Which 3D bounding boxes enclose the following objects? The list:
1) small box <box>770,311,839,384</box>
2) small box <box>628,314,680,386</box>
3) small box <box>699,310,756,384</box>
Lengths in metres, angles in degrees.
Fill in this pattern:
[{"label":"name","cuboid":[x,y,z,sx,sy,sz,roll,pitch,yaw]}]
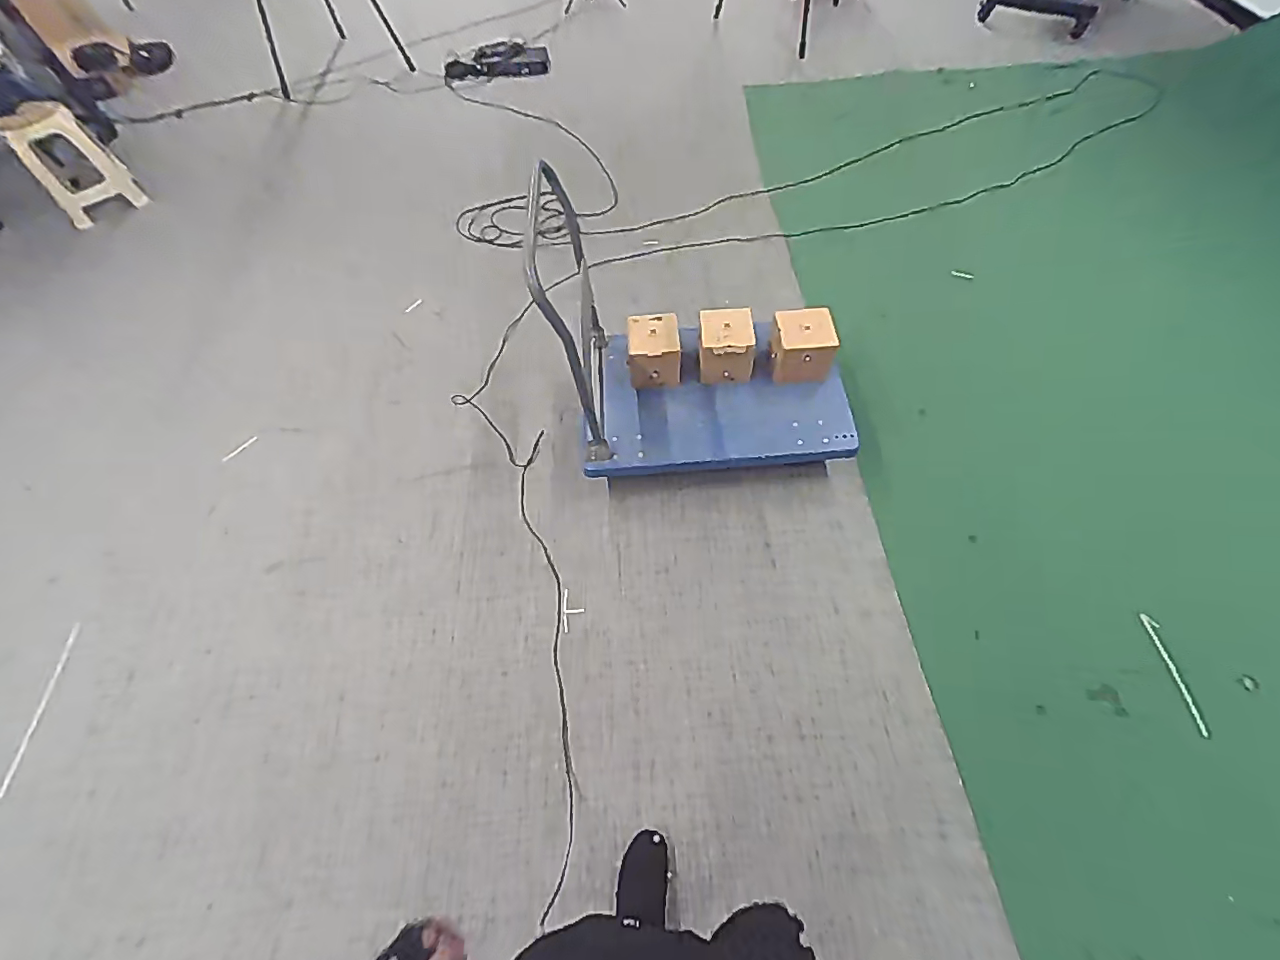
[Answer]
[{"label":"small box","cuboid":[0.529,-0.429,1.771,0.179,0.176,0.168,-3,60,2]},{"label":"small box","cuboid":[0.048,-0.424,1.794,0.168,0.176,0.179,-3,60,1]},{"label":"small box","cuboid":[0.284,-0.439,1.789,0.168,0.176,0.179,-1,59,3]}]
